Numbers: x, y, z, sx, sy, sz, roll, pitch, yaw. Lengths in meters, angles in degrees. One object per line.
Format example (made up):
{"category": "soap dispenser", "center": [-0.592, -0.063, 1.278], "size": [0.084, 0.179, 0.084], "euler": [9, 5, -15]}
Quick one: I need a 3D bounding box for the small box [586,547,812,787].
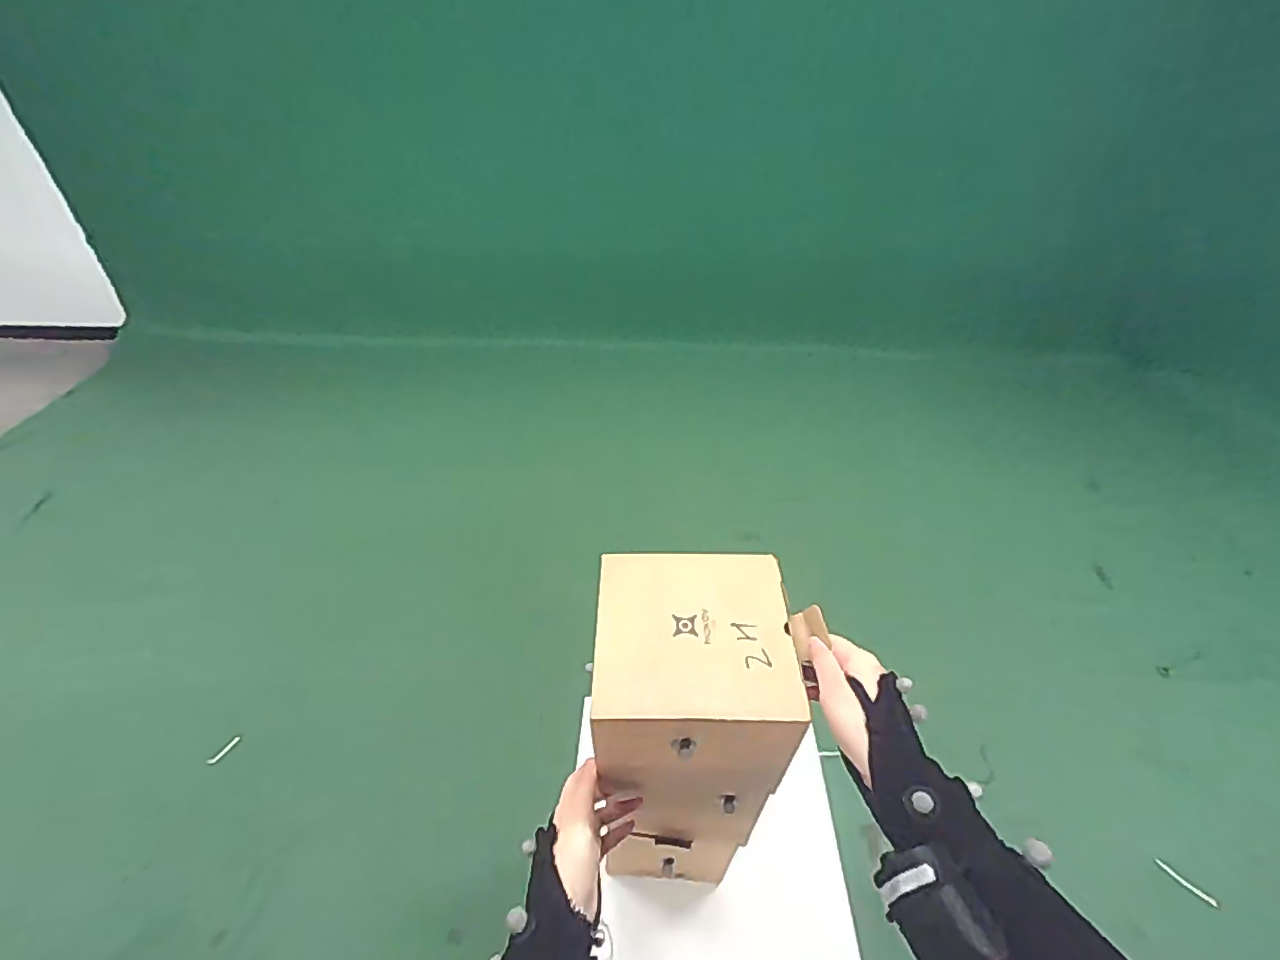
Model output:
{"category": "small box", "center": [0.046, 0.181, 0.520], "size": [0.179, 0.176, 0.168], "euler": [0, 44, 0]}

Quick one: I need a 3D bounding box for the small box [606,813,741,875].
{"category": "small box", "center": [0.044, 0.427, 0.758], "size": [0.168, 0.176, 0.179], "euler": [4, 41, 1]}

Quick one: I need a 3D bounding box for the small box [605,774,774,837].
{"category": "small box", "center": [0.053, 0.304, 0.651], "size": [0.179, 0.176, 0.168], "euler": [6, 40, 3]}
